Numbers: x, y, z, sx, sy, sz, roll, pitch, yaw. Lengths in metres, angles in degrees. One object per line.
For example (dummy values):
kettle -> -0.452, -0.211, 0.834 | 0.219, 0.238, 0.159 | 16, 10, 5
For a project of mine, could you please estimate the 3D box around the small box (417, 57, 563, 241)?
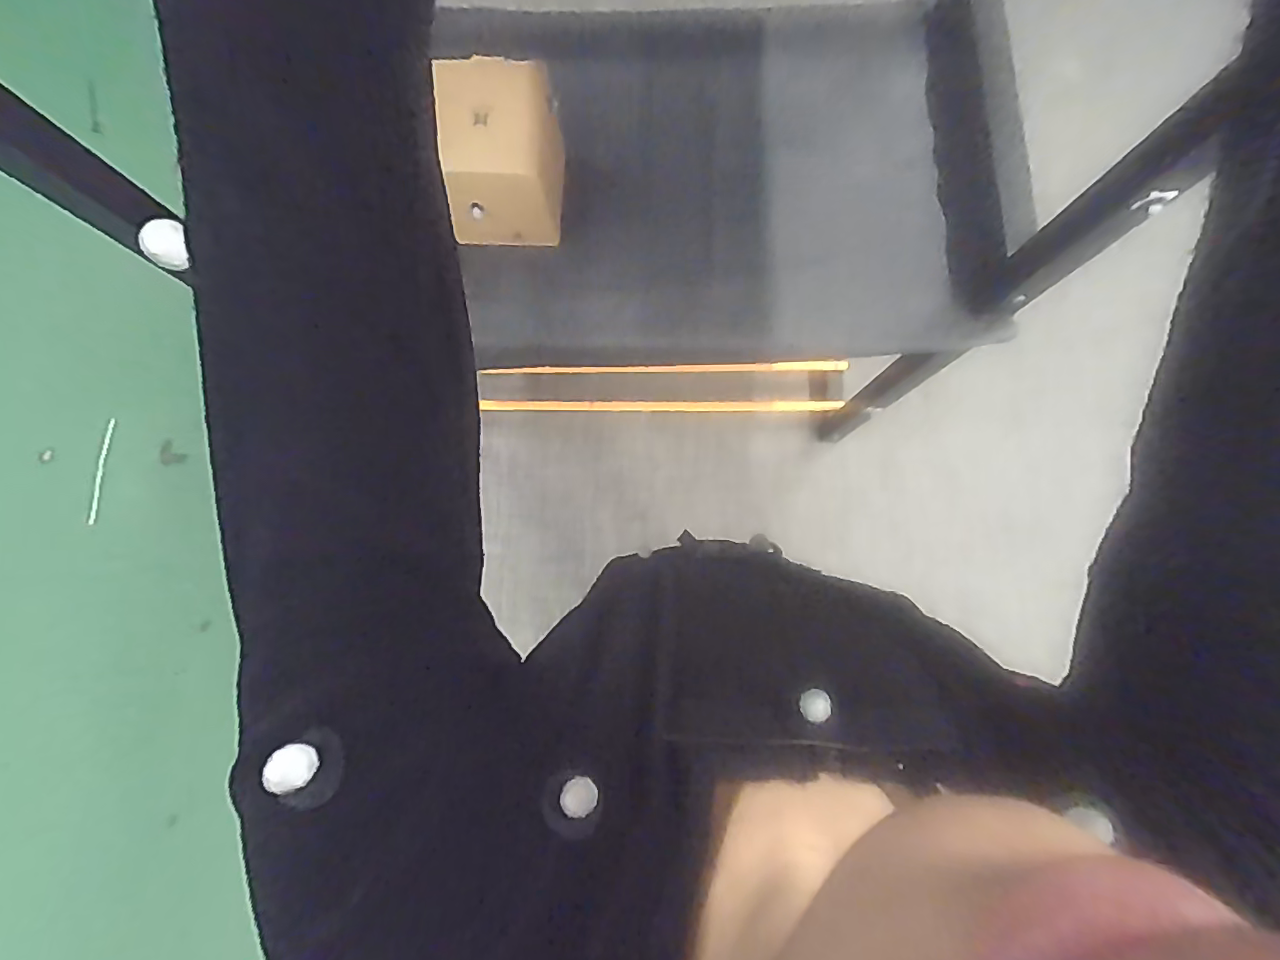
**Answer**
small box -> -0.212, -0.482, 0.808 | 0.168, 0.176, 0.179 | 1, 80, 1
